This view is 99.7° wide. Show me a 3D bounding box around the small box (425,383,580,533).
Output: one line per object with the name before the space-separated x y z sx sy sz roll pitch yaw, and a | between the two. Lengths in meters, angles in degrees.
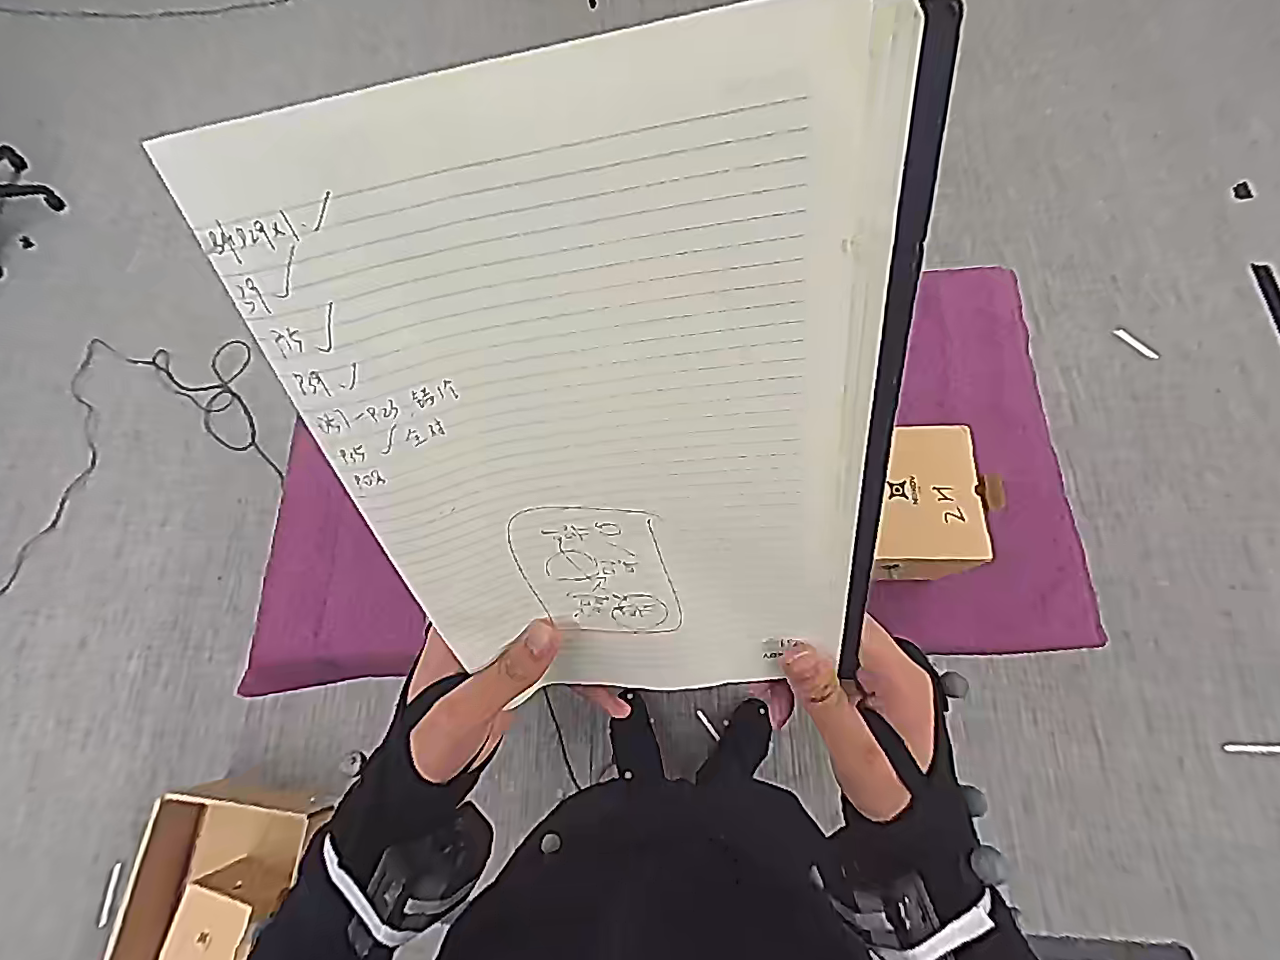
small box | -0.185 -0.023 0.780 0.168 0.176 0.179 -1 71 5

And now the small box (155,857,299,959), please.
small box | -0.935 1.006 1.242 0.179 0.176 0.168 12 74 9

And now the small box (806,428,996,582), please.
small box | 0.320 0.040 0.707 0.179 0.176 0.168 0 72 6
